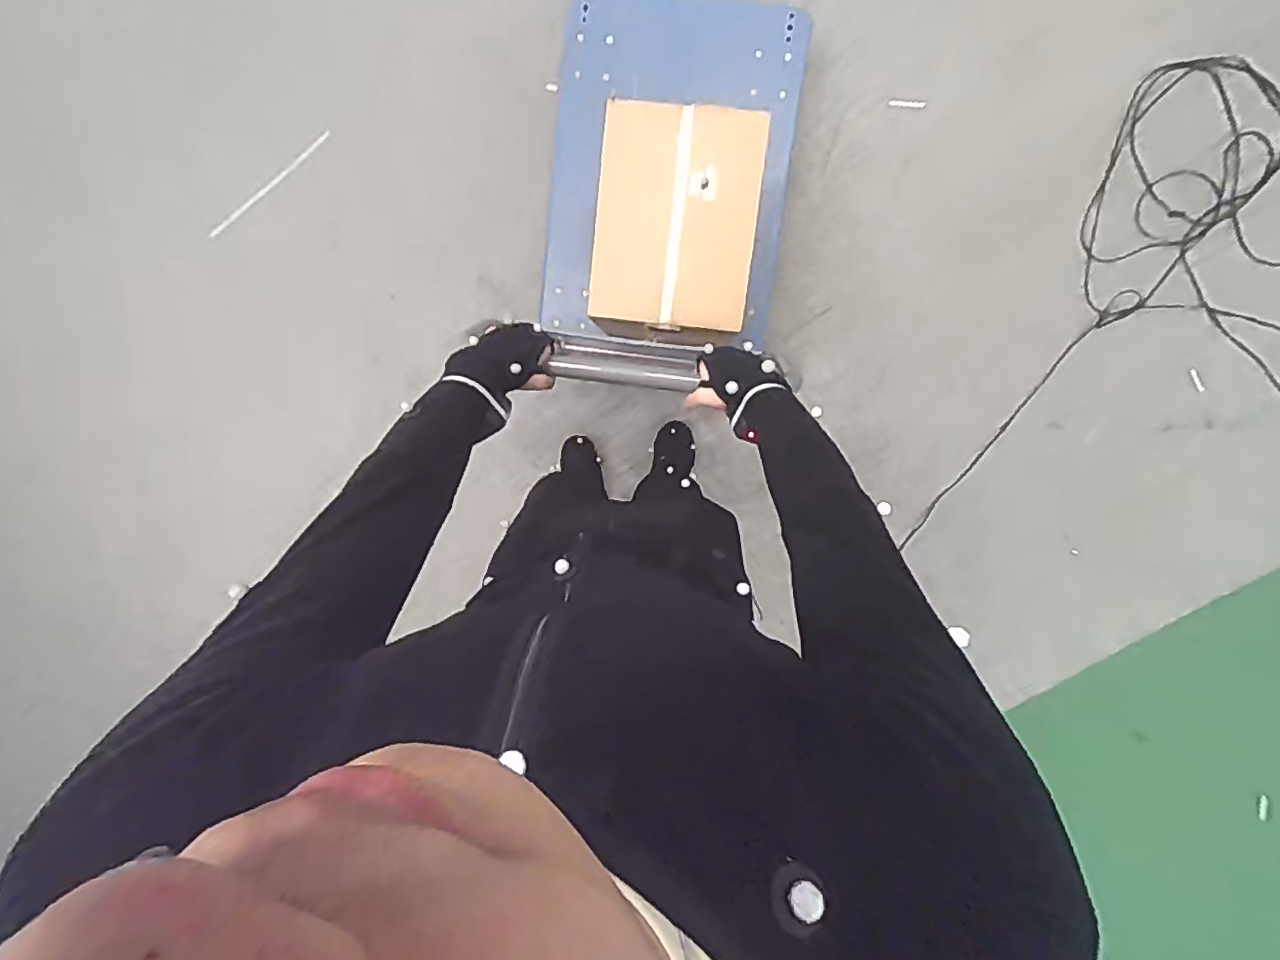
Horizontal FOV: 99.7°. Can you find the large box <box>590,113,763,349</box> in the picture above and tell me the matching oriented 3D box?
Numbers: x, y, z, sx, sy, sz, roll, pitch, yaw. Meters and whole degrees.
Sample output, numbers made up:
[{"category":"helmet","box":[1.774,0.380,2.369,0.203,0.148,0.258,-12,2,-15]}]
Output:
[{"category":"large box","box":[0.077,-0.524,1.224,0.320,0.320,0.408,7,98,1]}]
